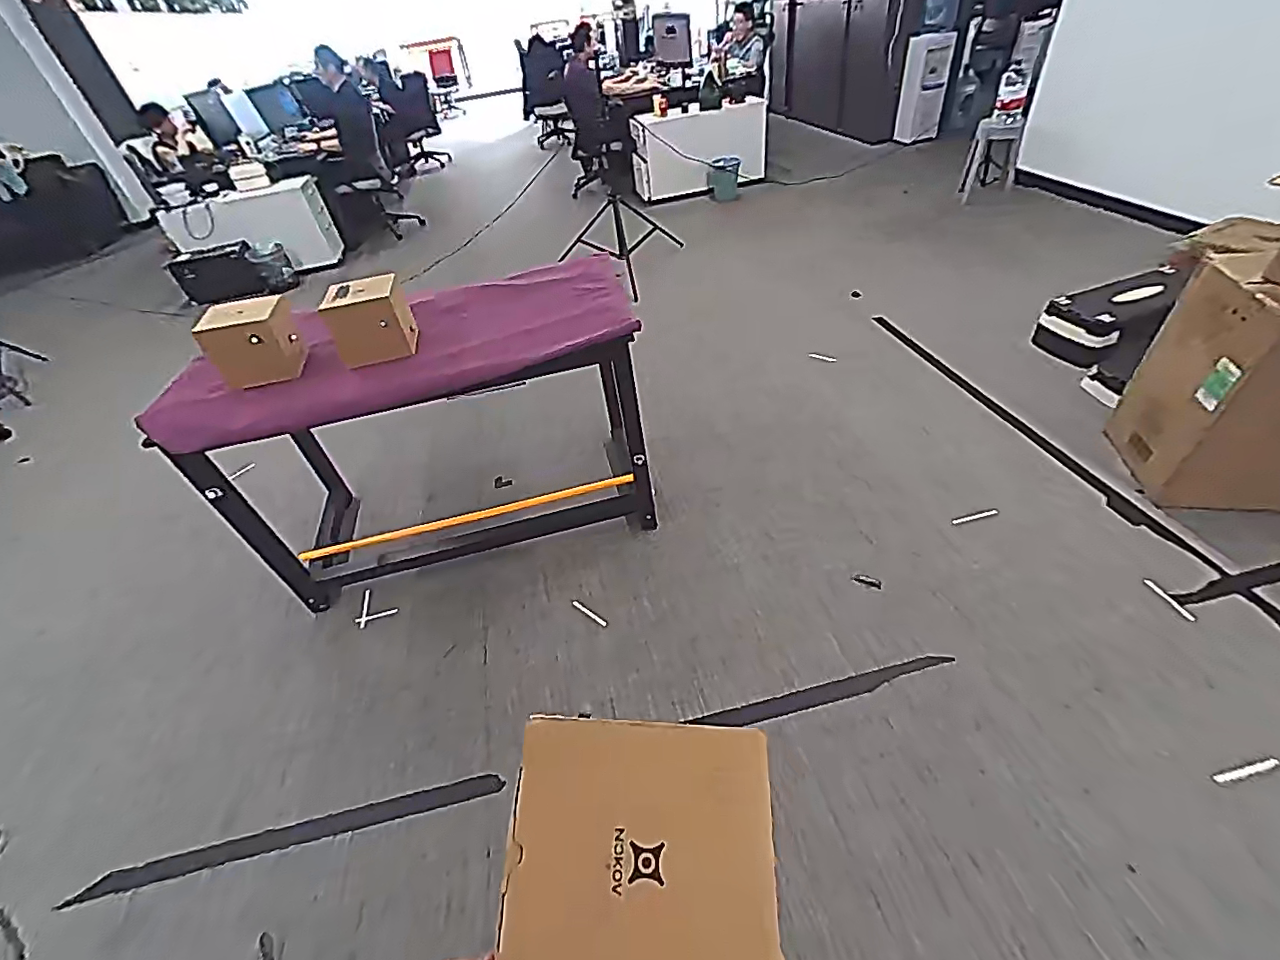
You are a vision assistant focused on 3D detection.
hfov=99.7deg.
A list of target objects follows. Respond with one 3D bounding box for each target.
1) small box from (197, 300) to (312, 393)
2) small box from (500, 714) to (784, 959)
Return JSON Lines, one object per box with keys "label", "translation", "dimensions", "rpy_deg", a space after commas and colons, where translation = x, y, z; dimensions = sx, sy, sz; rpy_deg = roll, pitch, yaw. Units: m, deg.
{"label": "small box", "translation": [-1.008, -0.353, 1.434], "dimensions": [0.179, 0.176, 0.168], "rpy_deg": [-14, 41, -9]}
{"label": "small box", "translation": [0.005, 0.283, 0.424], "dimensions": [0.179, 0.176, 0.168], "rpy_deg": [1, 61, 3]}
